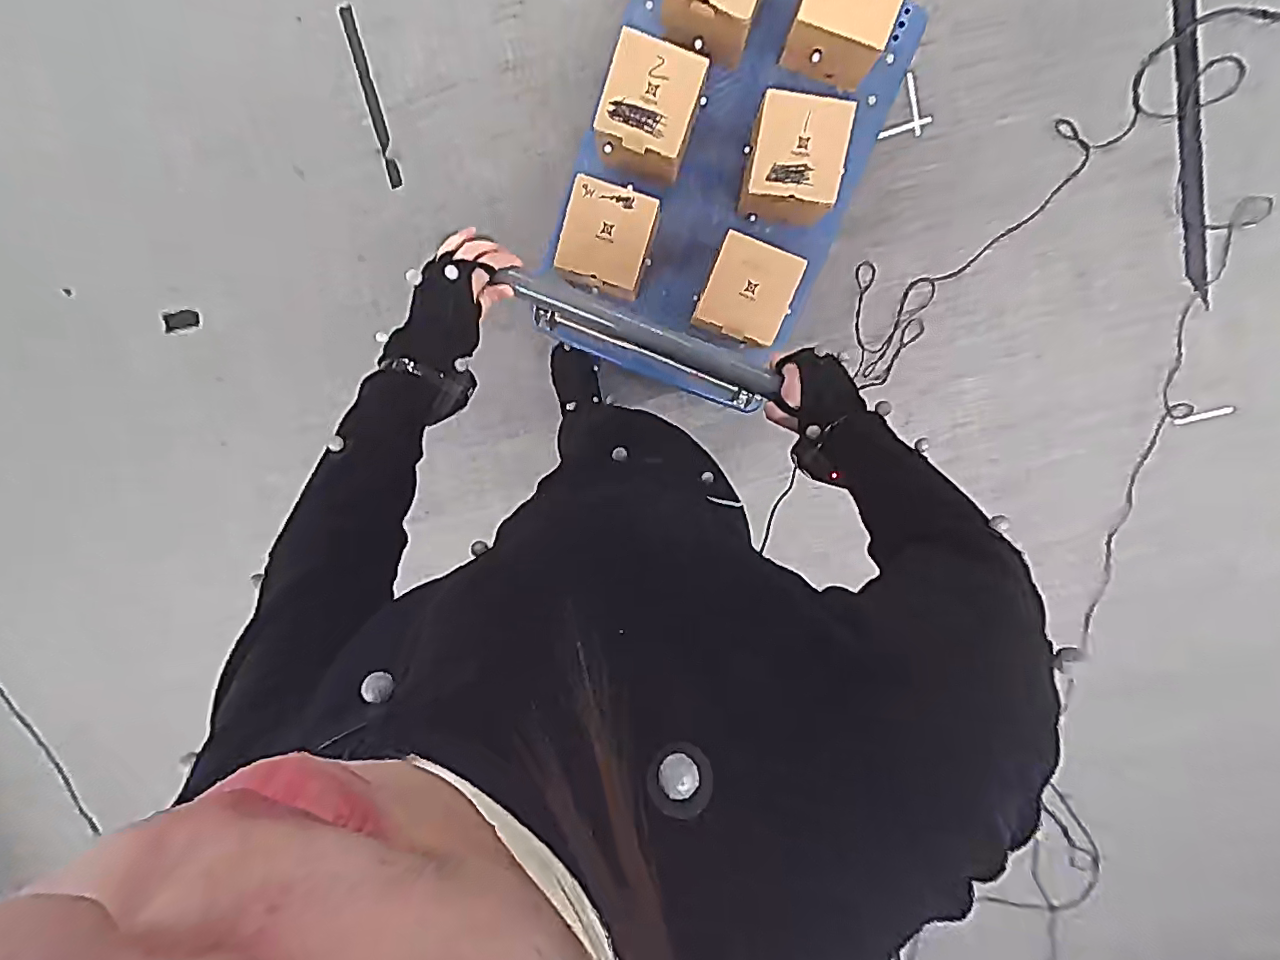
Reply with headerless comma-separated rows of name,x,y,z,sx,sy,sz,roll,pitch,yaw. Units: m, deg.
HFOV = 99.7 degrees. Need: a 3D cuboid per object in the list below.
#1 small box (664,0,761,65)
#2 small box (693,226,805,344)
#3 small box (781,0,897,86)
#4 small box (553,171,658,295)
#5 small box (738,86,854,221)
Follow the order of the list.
small box,0.148,-0.933,1.003,0.168,0.176,0.179,23,103,-3
small box,0.216,-0.393,1.127,0.168,0.176,0.179,22,102,-4
small box,0.377,-0.884,1.009,0.168,0.176,0.179,18,103,-2
small box,-0.064,-0.494,1.112,0.168,0.176,0.179,17,103,-3
small box,0.296,-0.632,1.069,0.168,0.176,0.179,10,103,0
